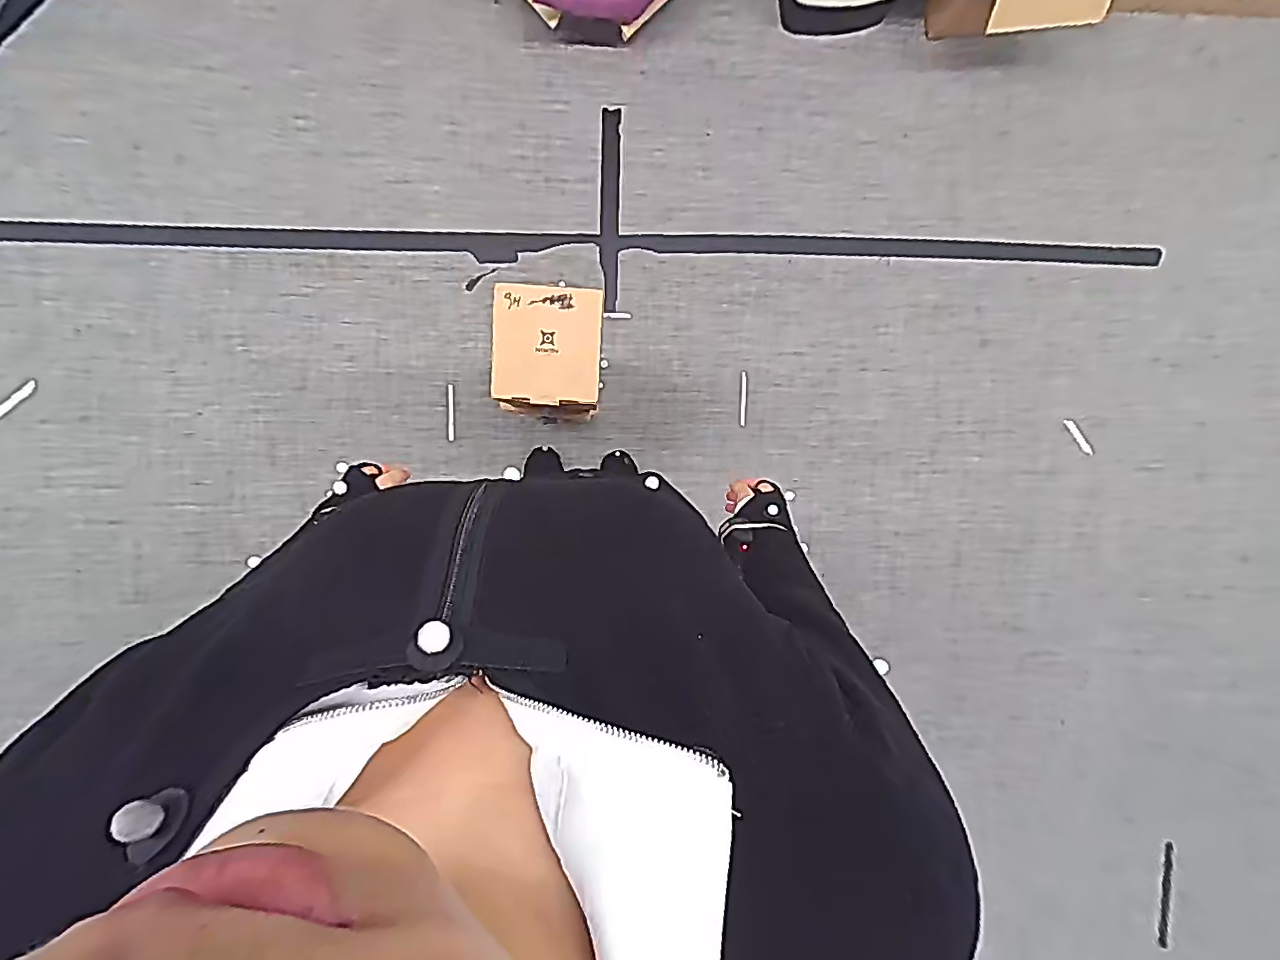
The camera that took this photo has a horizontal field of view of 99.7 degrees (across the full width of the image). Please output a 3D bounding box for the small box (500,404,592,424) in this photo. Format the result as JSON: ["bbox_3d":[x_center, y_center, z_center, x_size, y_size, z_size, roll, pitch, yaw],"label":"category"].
[{"bbox_3d":[-0.170,-0.207,1.059,0.168,0.176,0.179,6,95,-4],"label":"small box"}]

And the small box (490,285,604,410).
[{"bbox_3d":[-0.147,-0.208,0.896,0.168,0.176,0.179,3,95,-4],"label":"small box"}]
